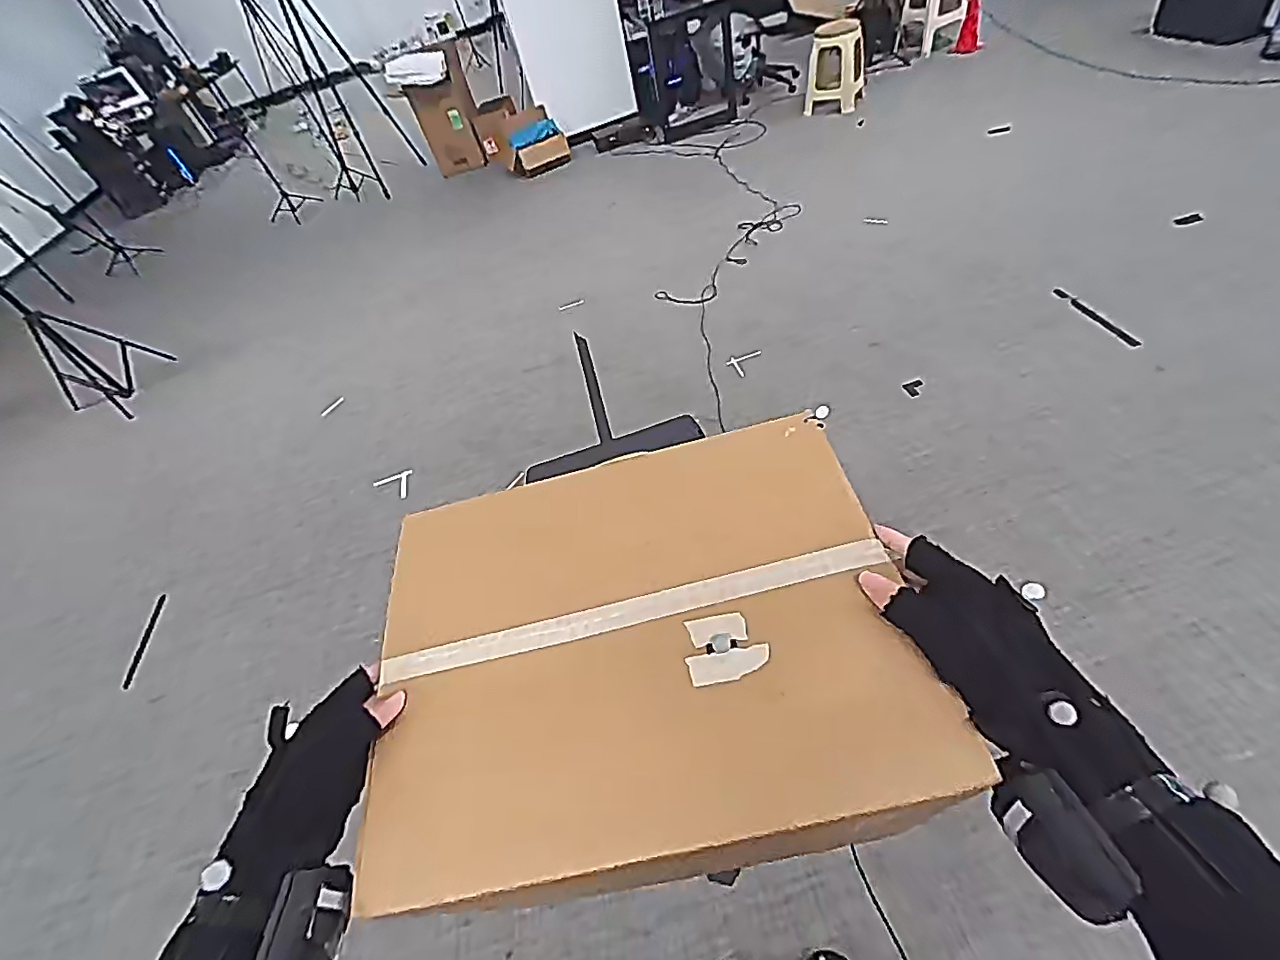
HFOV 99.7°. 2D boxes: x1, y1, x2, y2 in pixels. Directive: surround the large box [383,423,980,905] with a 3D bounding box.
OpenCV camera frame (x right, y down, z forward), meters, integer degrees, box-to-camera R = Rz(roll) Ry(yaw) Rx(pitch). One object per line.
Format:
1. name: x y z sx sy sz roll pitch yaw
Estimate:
1. large box: 0.025 0.199 0.550 0.408 0.320 0.320 -14 52 3
